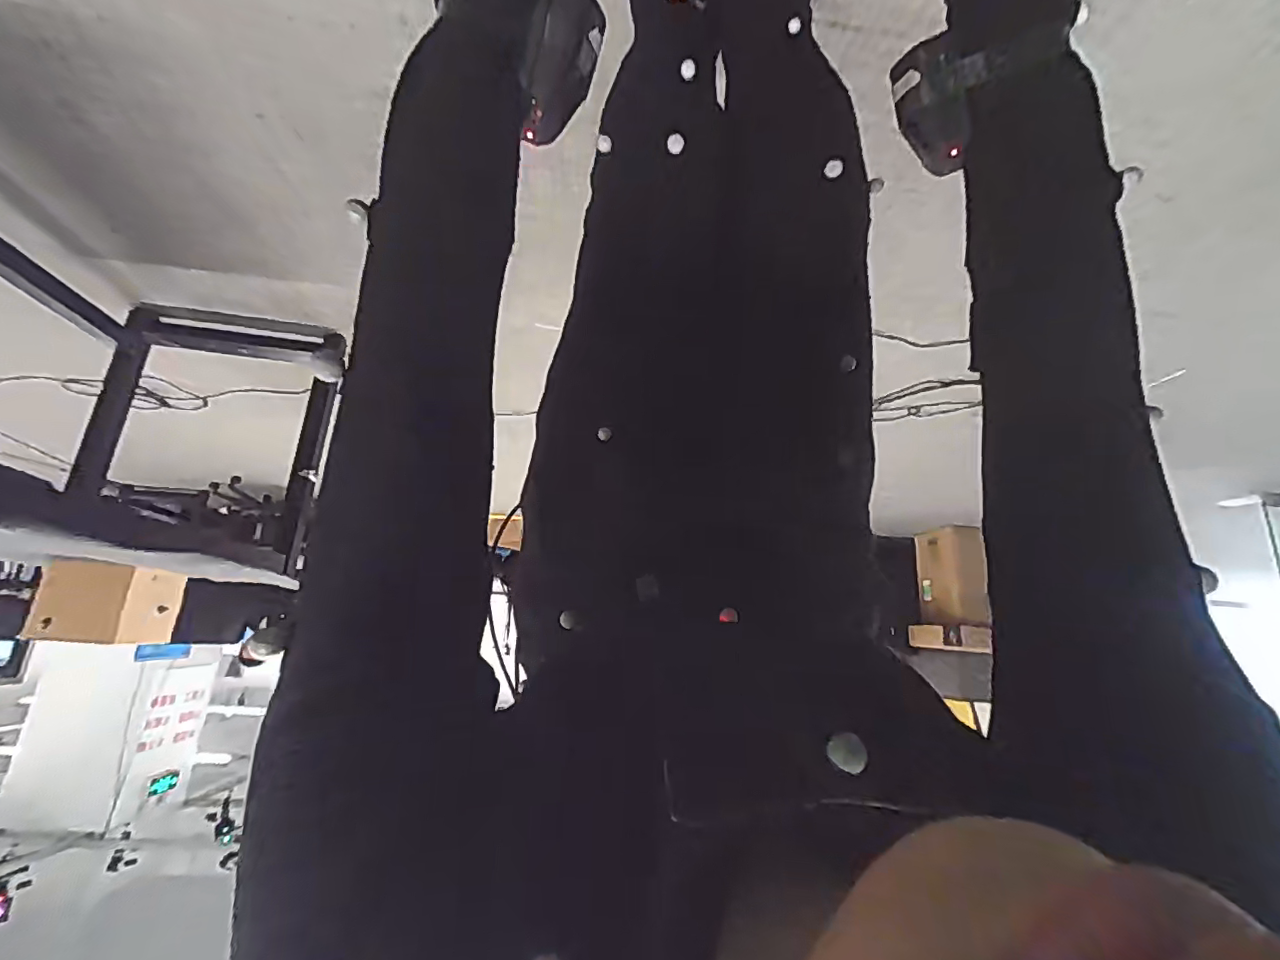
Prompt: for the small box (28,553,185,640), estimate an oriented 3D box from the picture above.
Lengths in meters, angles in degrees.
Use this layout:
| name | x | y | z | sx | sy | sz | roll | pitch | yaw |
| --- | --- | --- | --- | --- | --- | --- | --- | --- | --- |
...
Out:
| name | x | y | z | sx | sy | sz | roll | pitch | yaw |
| --- | --- | --- | --- | --- | --- | --- | --- | --- | --- |
| small box | -1.152 | 0.256 | 1.190 | 0.179 | 0.176 | 0.168 | 6 | 164 | -5 |
